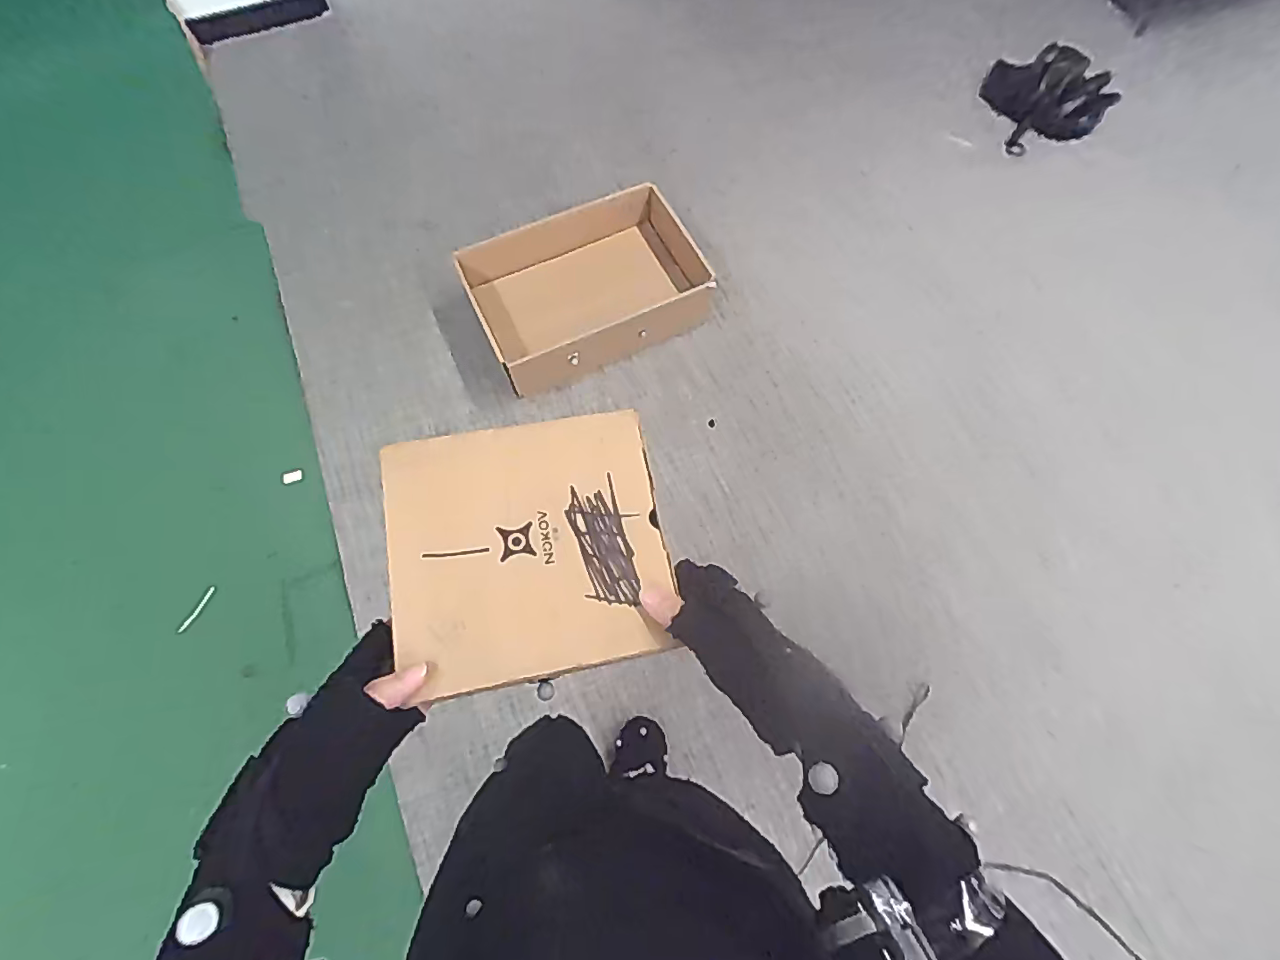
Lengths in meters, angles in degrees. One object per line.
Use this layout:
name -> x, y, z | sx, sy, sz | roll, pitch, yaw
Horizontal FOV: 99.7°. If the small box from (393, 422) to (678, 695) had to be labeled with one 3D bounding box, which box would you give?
small box -> -0.083, 0.071, 0.442 | 0.179, 0.176, 0.168 | -9, 70, -10
